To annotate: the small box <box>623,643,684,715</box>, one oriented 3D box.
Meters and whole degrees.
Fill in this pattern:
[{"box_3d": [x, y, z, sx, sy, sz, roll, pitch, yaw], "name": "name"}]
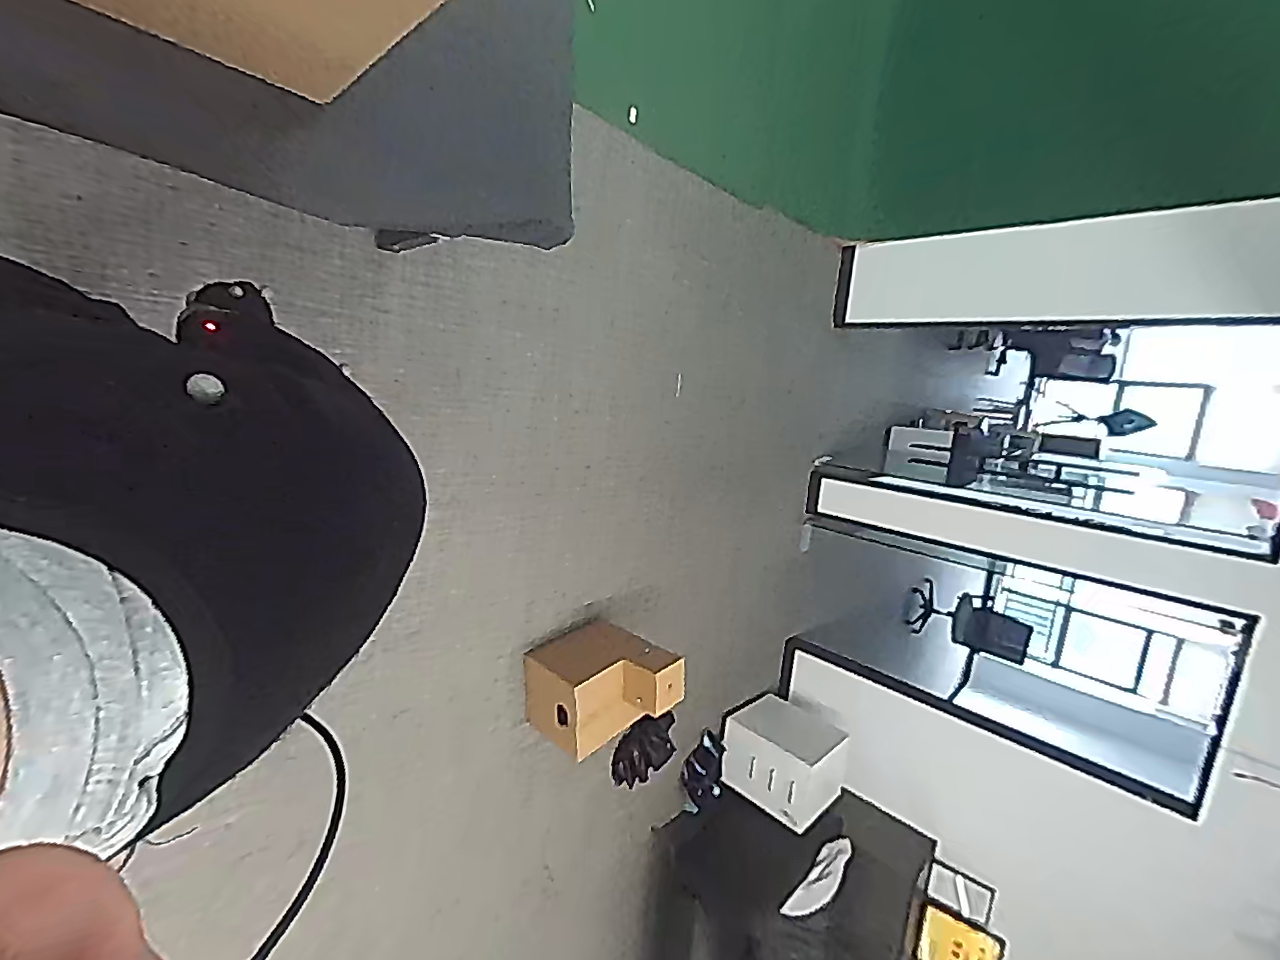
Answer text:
[{"box_3d": [0.050, 0.747, 2.053, 0.168, 0.176, 0.179, -13, 105, -46], "name": "small box"}]
